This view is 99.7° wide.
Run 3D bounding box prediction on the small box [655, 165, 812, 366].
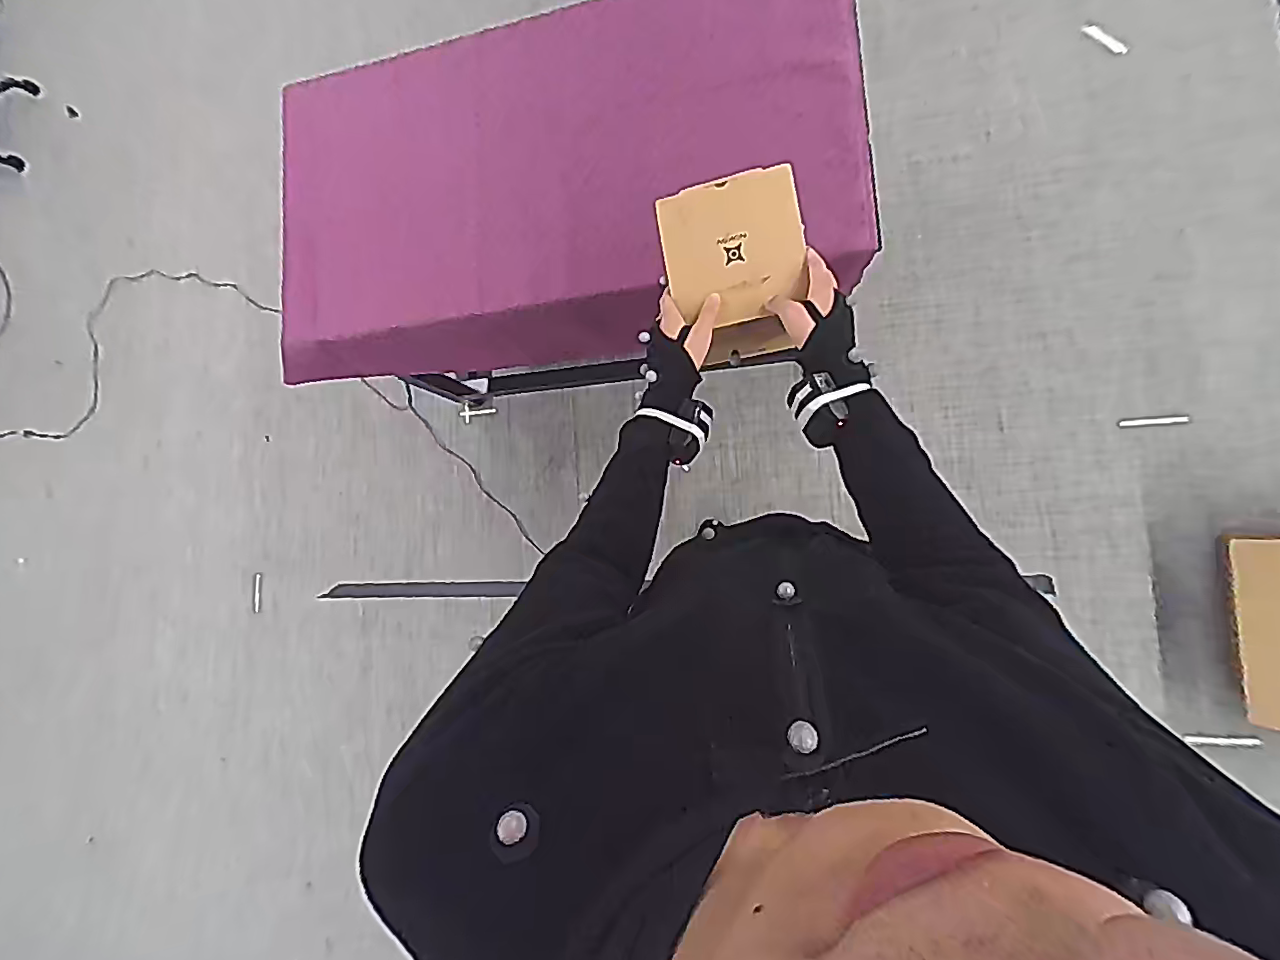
[{"bbox_3d":[0.123,-0.270,0.722,0.168,0.176,0.179,-10,85,11],"label":"small box"}]
